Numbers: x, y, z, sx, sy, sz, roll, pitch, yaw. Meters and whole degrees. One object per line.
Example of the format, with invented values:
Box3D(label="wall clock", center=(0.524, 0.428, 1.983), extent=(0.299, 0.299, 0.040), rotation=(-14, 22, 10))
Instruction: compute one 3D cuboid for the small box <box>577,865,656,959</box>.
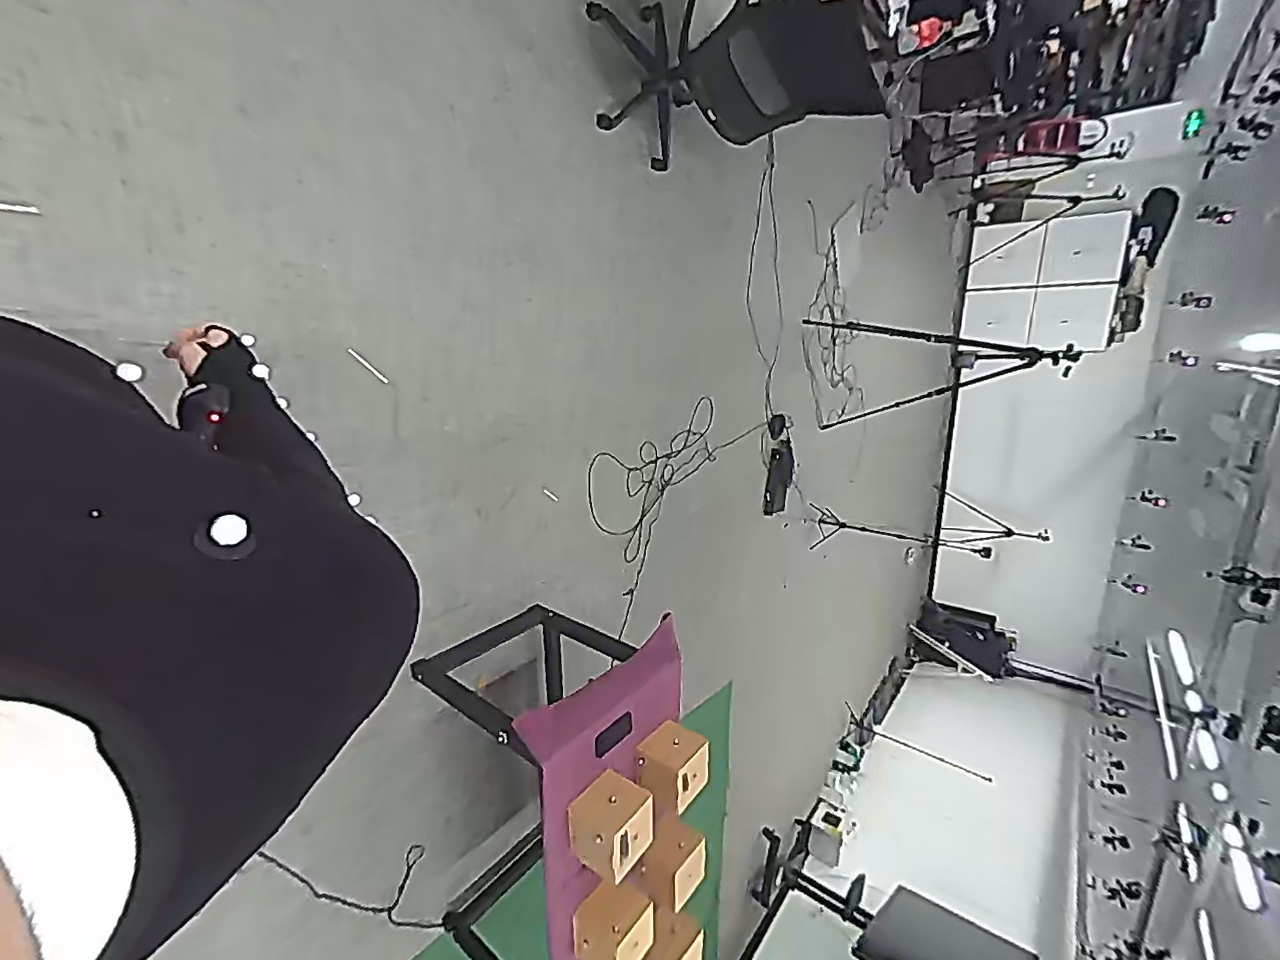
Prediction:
Box3D(label="small box", center=(-0.071, 1.324, 1.633), extent=(0.179, 0.176, 0.168), rotation=(-17, 112, -48))

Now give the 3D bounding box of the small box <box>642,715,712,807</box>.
Box3D(label="small box", center=(0.118, 0.905, 1.756), extent=(0.179, 0.176, 0.168), rotation=(-17, 112, -48))

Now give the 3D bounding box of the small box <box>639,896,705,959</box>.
Box3D(label="small box", center=(0.114, 1.657, 1.944), extent=(0.179, 0.176, 0.168), rotation=(-14, 109, -49))

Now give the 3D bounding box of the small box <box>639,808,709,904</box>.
Box3D(label="small box", center=(0.116, 1.276, 1.853), extent=(0.179, 0.176, 0.168), rotation=(-15, 110, -48))
